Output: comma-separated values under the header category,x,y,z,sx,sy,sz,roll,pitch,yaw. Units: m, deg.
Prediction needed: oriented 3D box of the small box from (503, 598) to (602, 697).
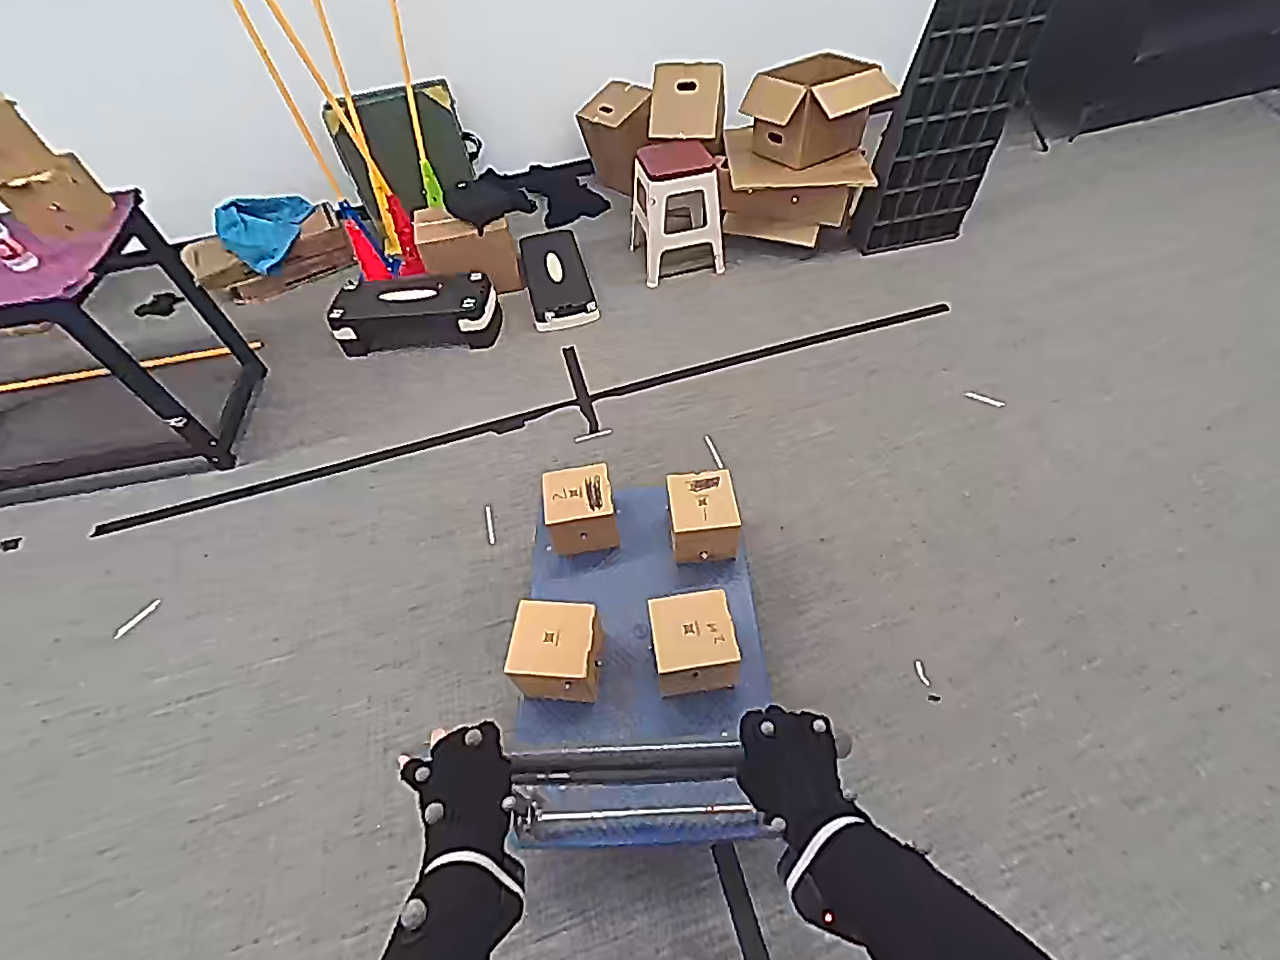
category,x,y,z,sx,sy,sz,roll,pitch,yaw
small box,-0.189,0.382,1.225,0.179,0.176,0.168,2,53,5

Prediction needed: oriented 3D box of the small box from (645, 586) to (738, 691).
category,x,y,z,sx,sy,sz,roll,pitch,yaw
small box,0.113,0.360,1.215,0.179,0.176,0.168,-8,53,-1

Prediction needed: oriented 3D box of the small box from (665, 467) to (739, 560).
category,x,y,z,sx,sy,sz,roll,pitch,yaw
small box,0.156,0.089,1.416,0.168,0.176,0.179,-6,54,0
